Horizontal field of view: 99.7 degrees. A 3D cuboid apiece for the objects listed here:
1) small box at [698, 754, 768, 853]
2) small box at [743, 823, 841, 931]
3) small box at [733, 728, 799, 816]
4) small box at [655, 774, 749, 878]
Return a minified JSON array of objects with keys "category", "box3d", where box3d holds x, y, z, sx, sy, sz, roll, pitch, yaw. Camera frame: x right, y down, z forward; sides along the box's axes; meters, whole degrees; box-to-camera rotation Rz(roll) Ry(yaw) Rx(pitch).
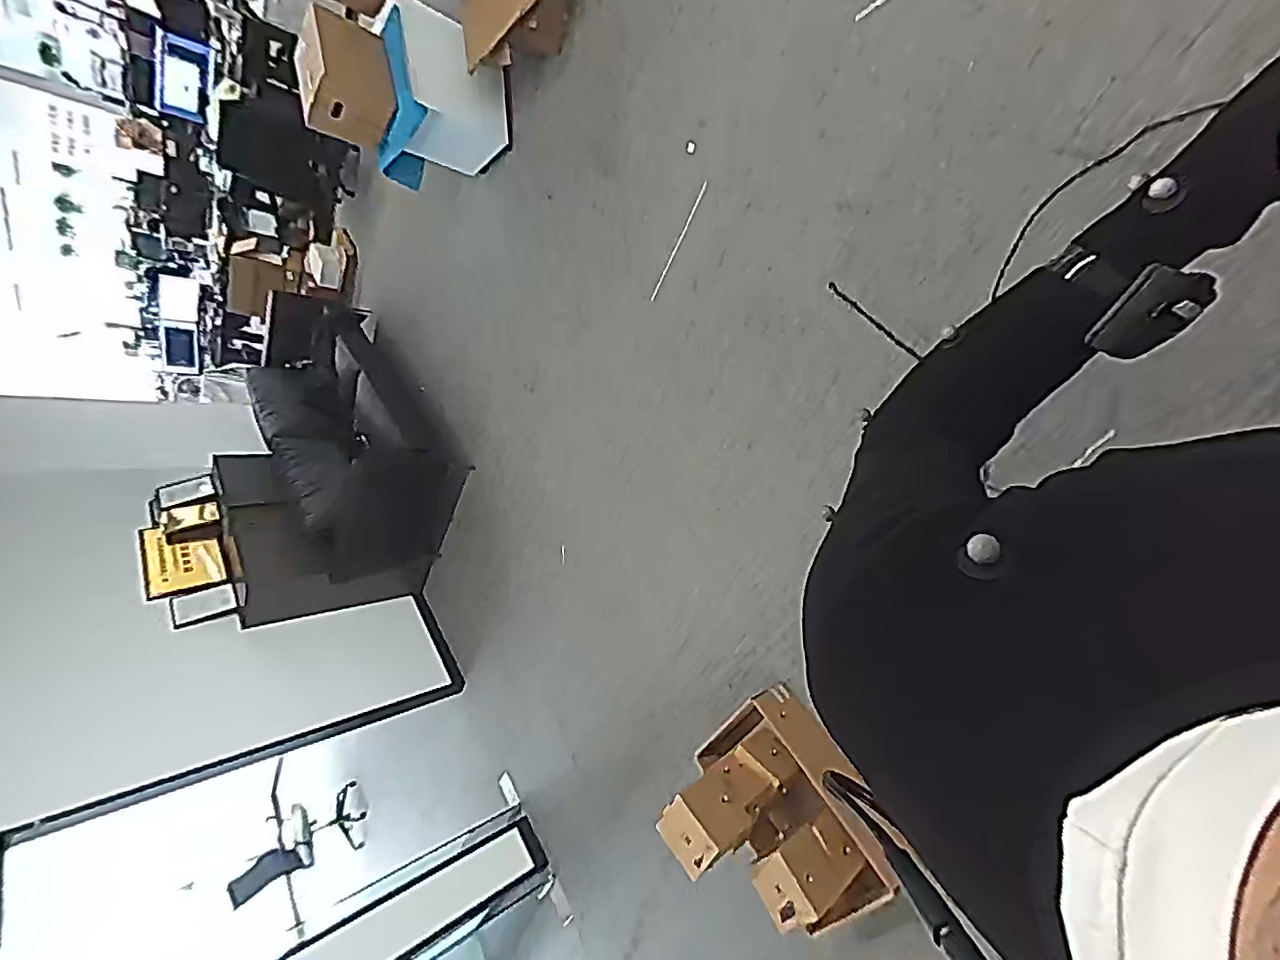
[{"category":"small box","box3d":[0.283,1.008,1.707,0.168,0.176,0.179,21,107,42]},{"category":"small box","box3d":[0.440,1.137,1.556,0.179,0.176,0.168,55,128,29]},{"category":"small box","box3d":[0.407,0.972,1.812,0.168,0.176,0.179,33,115,38]},{"category":"small box","box3d":[0.182,0.995,1.577,0.179,0.176,0.168,44,121,35]}]
